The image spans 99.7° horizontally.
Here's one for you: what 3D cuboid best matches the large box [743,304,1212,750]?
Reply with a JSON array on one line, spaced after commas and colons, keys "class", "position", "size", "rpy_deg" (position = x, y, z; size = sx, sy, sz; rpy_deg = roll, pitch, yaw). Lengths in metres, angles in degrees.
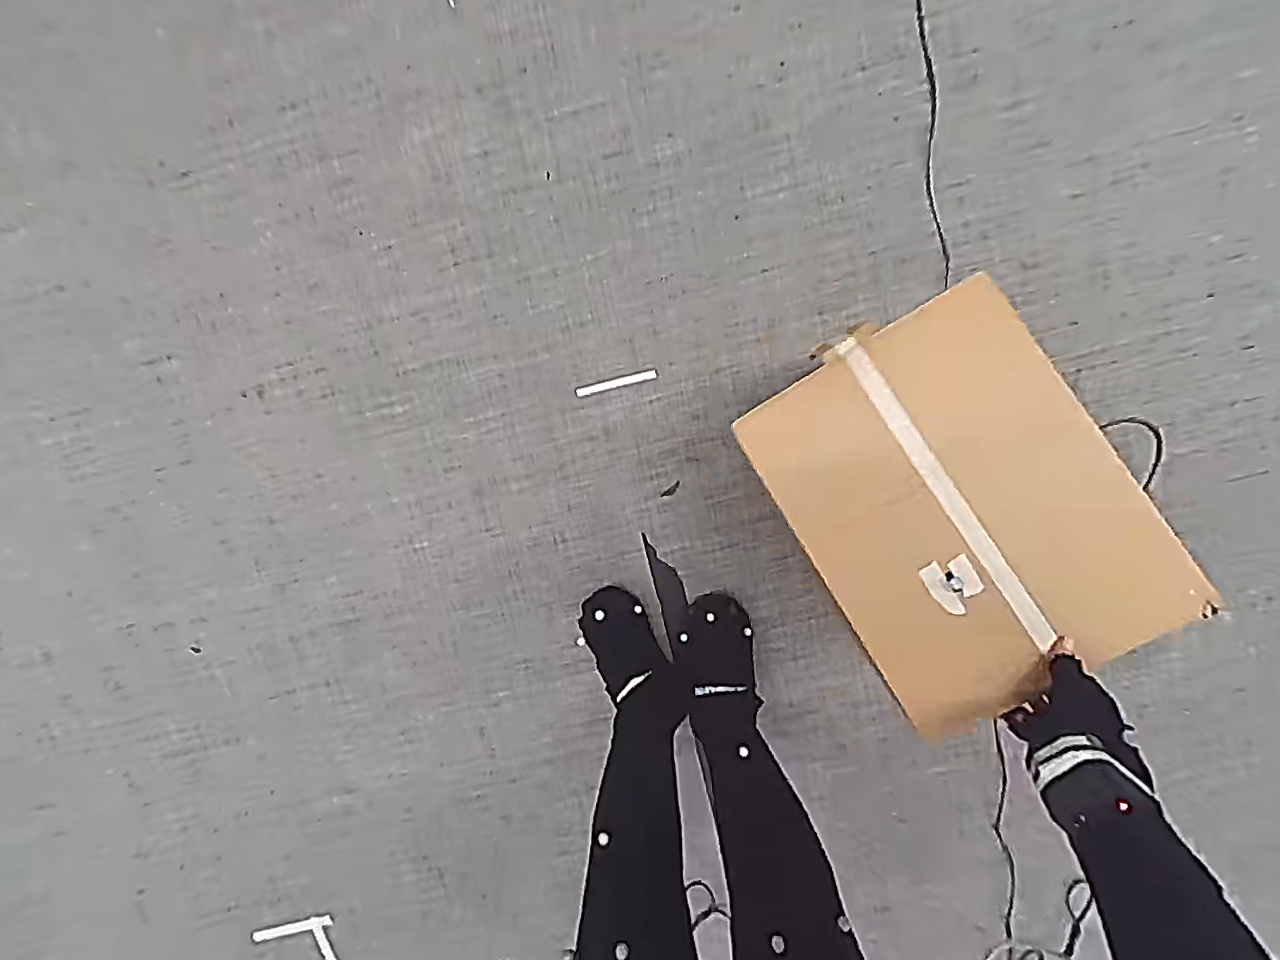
[{"class": "large box", "position": [0.376, 0.053, 0.734], "size": [0.320, 0.320, 0.408], "rpy_deg": [-30, 84, 8]}]
